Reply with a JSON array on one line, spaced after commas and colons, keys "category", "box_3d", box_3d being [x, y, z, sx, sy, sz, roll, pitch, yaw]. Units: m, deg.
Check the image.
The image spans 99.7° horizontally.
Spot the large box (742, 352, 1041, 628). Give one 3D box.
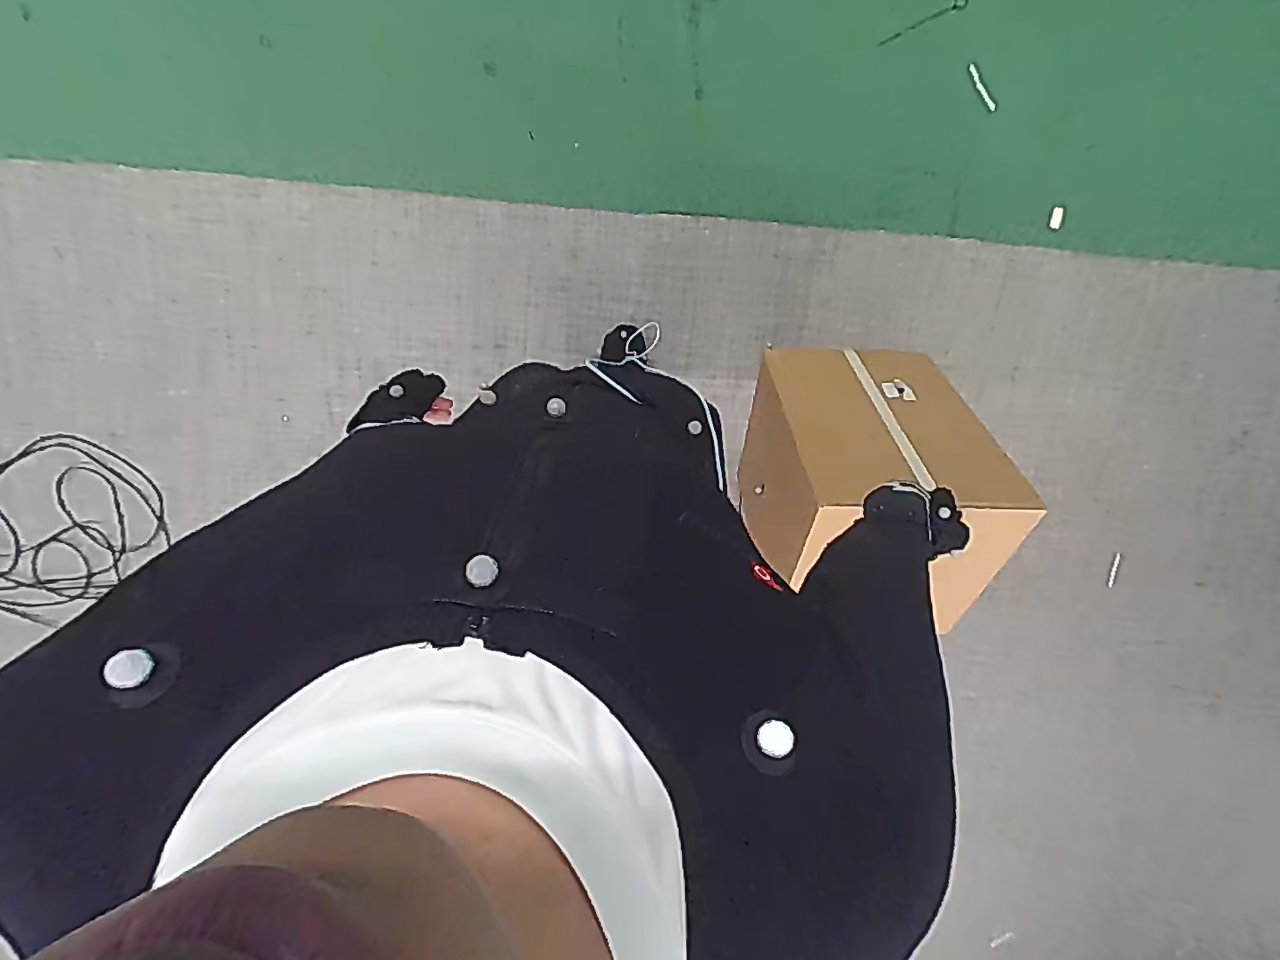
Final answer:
[{"category": "large box", "box_3d": [0.385, 0.010, 0.969, 0.320, 0.408, 0.320, 2, 132, -2]}]
